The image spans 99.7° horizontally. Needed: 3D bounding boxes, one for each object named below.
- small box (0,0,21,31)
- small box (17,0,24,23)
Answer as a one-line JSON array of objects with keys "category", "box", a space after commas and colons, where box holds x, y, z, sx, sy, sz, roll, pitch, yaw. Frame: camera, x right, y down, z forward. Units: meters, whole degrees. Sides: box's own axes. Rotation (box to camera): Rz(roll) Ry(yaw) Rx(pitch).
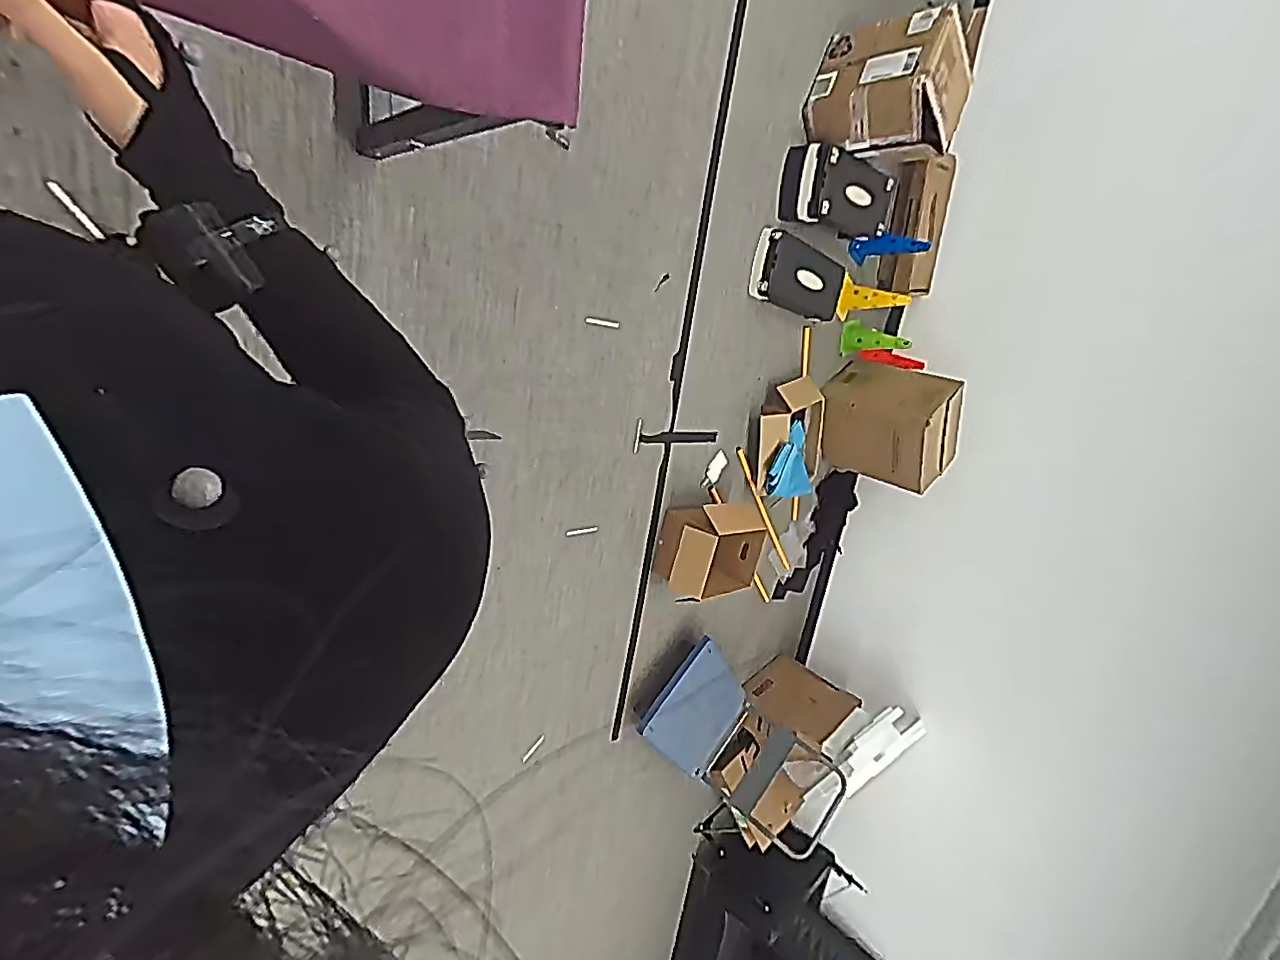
[{"category": "small box", "box": [-0.435, -0.372, 0.270, 0.168, 0.176, 0.179, -1, 112, -49]}, {"category": "small box", "box": [-1.002, -0.796, 0.760, 0.168, 0.176, 0.179, -6, 111, -46]}]
